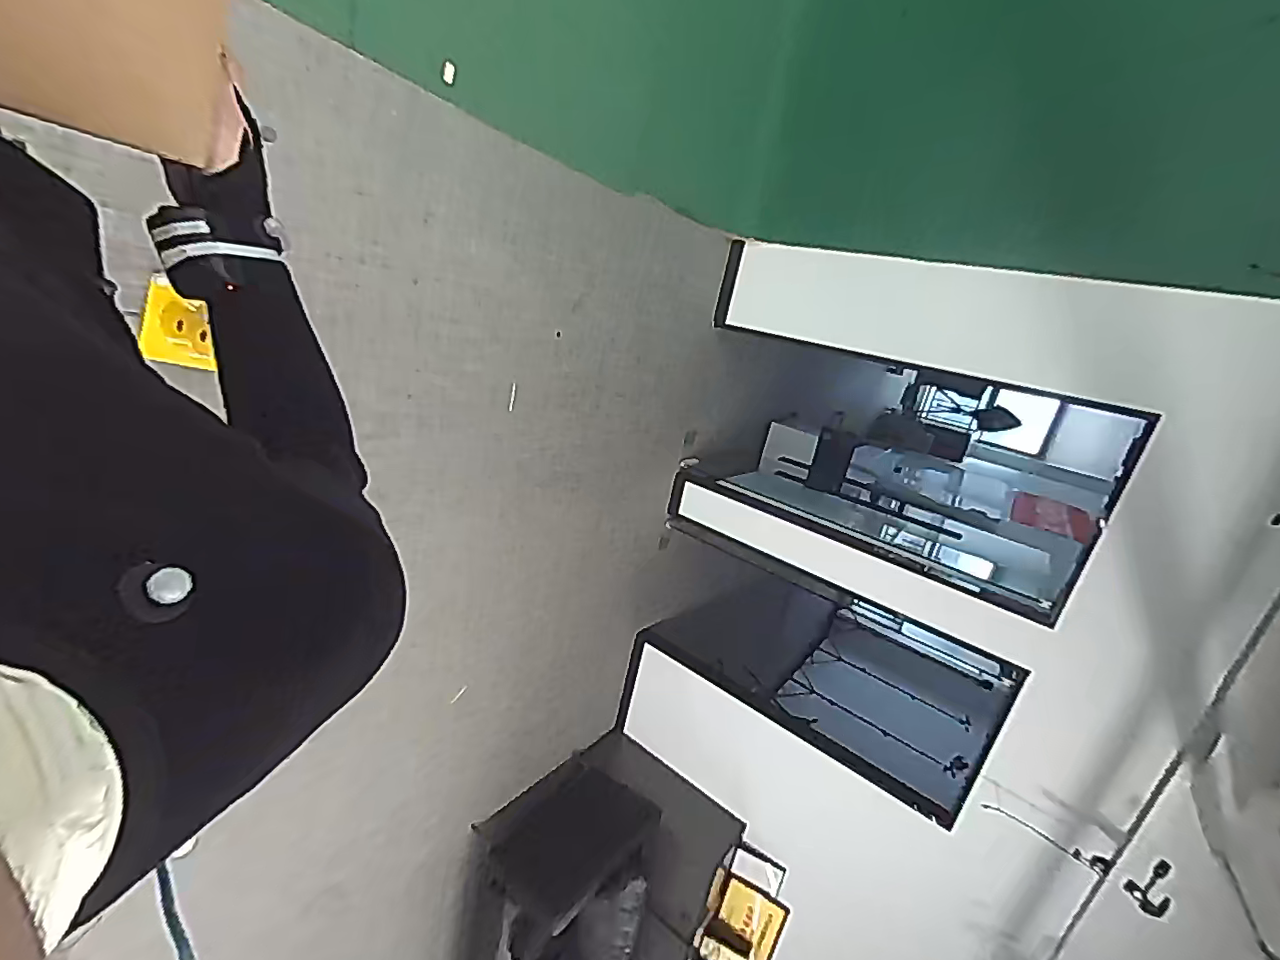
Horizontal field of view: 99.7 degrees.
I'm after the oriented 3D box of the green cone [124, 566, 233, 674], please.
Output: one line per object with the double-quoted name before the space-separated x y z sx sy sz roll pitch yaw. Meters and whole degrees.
"green cone" -1.125 0.390 1.376 0.200 0.368 0.202 -1 109 -56
